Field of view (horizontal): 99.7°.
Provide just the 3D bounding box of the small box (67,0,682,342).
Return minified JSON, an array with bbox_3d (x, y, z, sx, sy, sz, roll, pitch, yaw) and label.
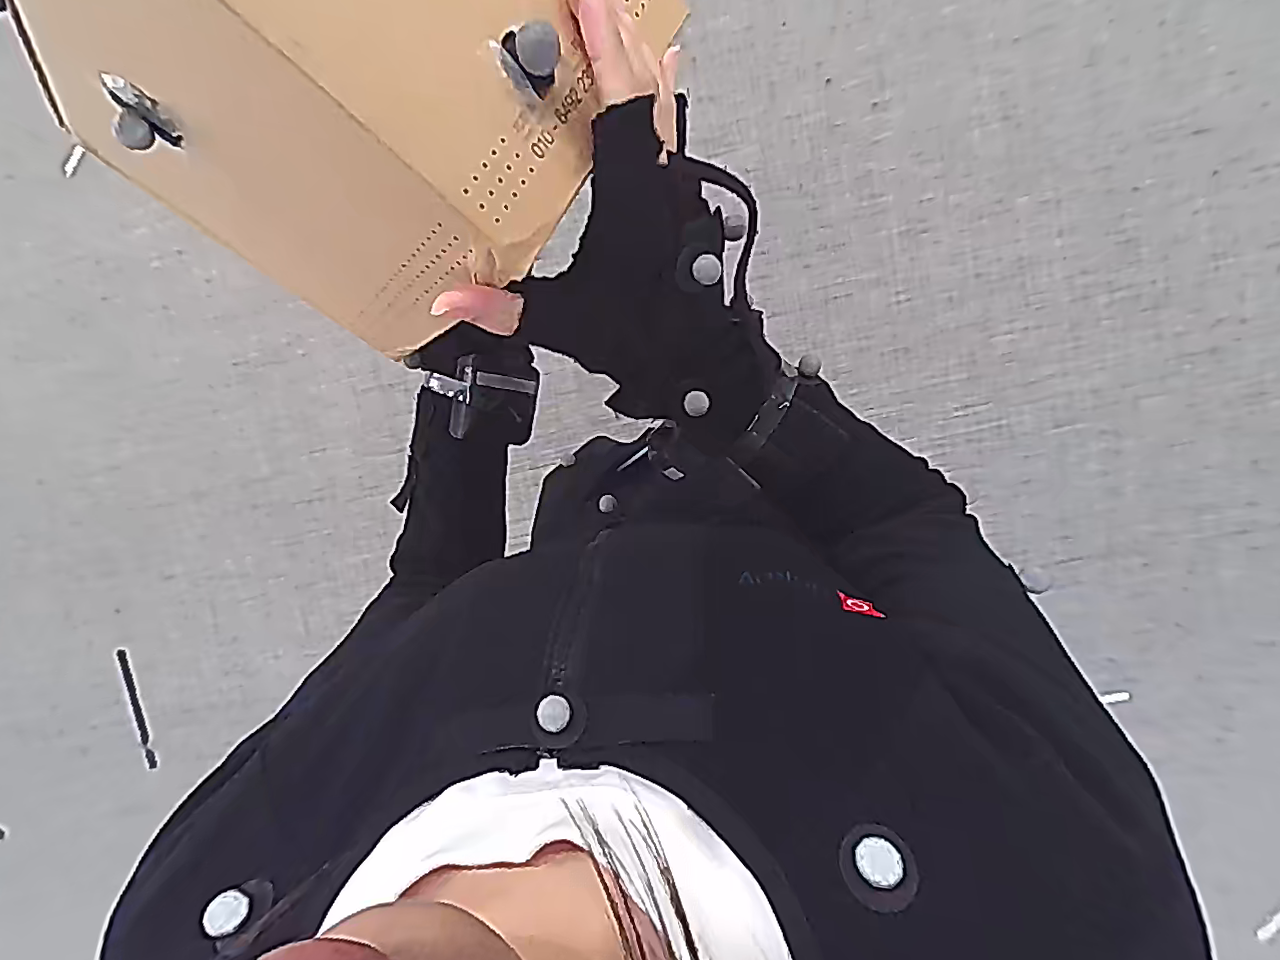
[{"bbox_3d":[-0.113,-0.191,0.262,0.176,0.179,0.168,36,68,-33],"label":"small box"}]
